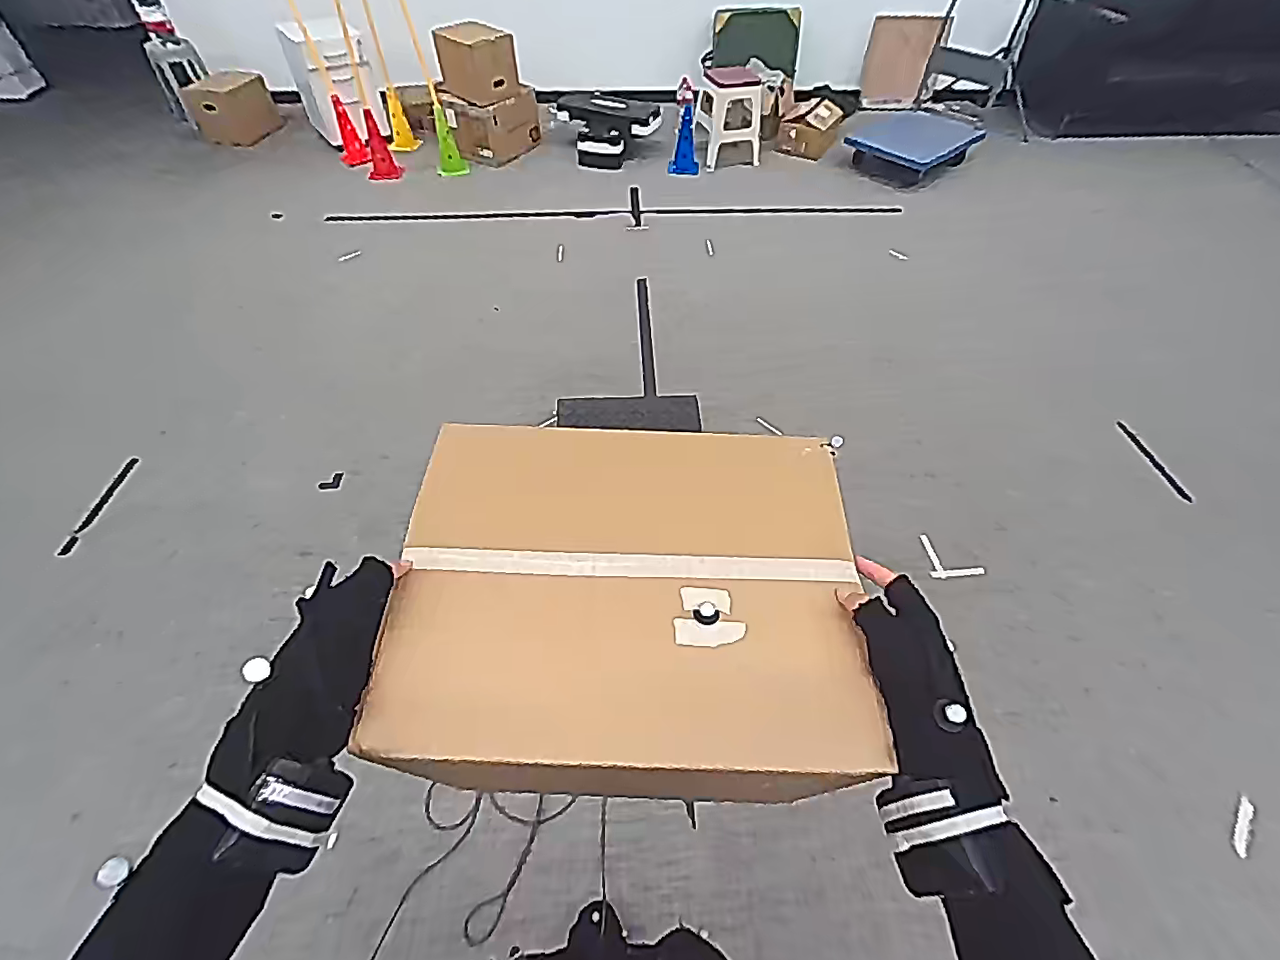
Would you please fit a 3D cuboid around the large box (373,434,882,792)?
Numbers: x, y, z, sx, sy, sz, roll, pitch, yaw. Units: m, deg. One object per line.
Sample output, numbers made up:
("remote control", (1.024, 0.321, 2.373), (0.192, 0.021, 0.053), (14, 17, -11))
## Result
("large box", (-0.012, 0.166, 0.621), (0.408, 0.320, 0.320), (2, 56, 0))
